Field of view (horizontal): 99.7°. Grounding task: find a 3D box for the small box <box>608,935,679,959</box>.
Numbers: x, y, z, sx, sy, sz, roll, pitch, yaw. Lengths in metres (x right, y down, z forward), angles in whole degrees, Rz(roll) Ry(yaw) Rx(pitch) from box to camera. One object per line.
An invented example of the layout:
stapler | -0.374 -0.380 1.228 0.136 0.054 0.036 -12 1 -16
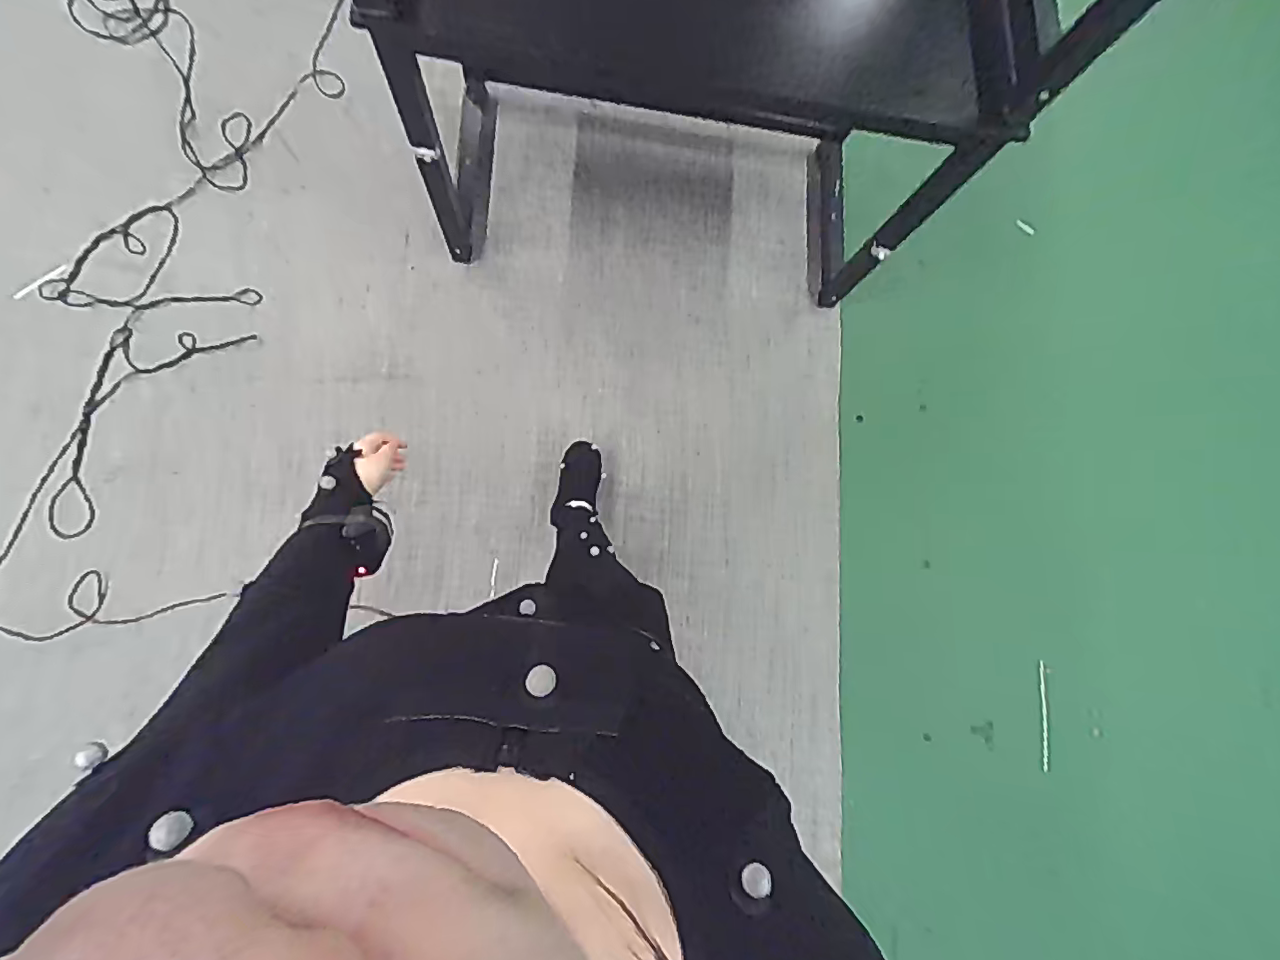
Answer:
small box | 0.007 1.228 1.281 0.168 0.176 0.179 9 80 -6
